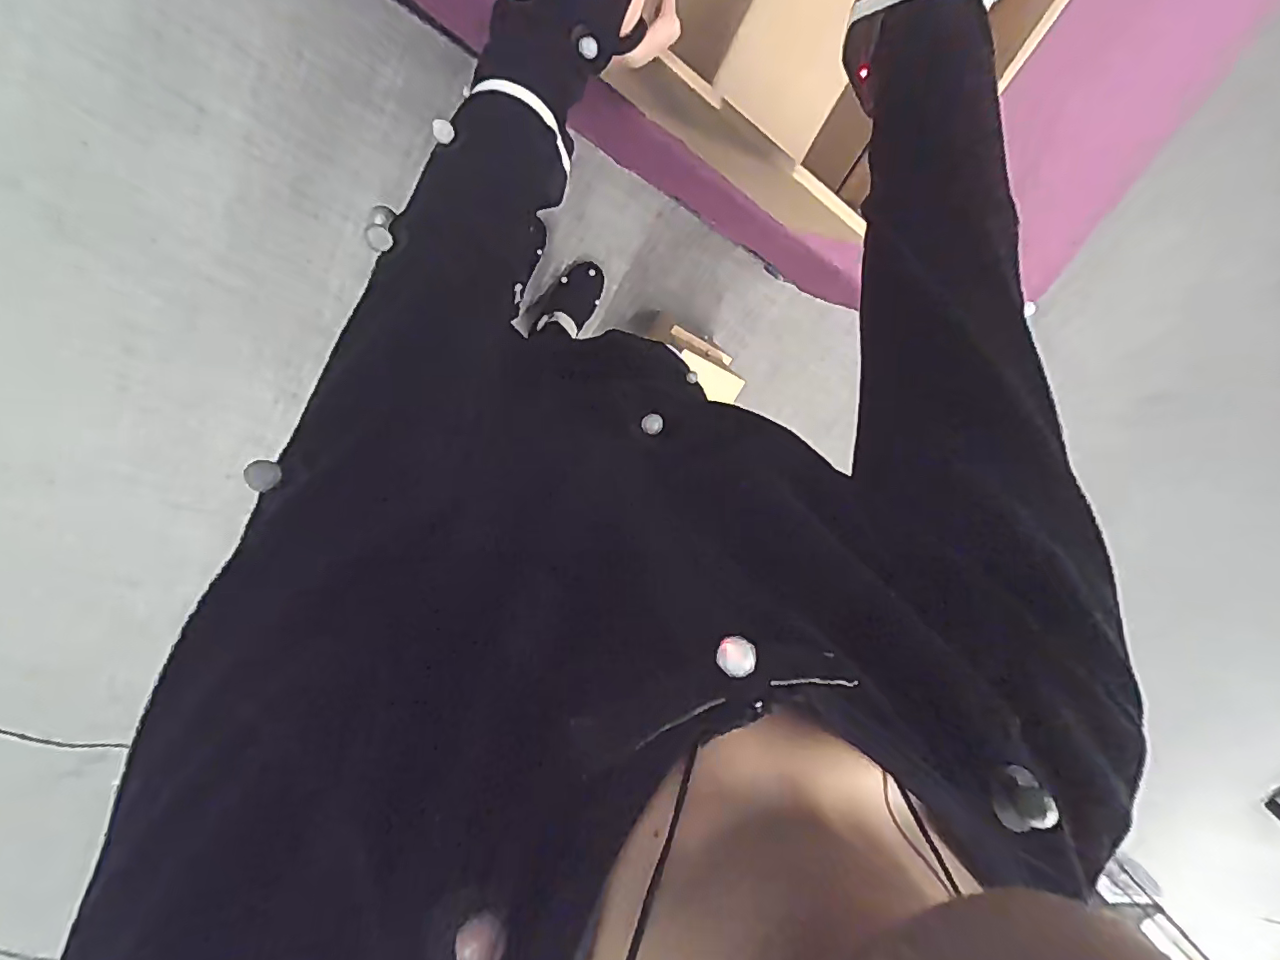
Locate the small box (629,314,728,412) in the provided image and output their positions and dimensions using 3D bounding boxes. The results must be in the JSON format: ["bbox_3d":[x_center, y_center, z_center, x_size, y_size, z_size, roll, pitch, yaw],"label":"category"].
[{"bbox_3d":[0.092,-0.306,1.387,0.179,0.176,0.168,24,111,-21],"label":"small box"}]
